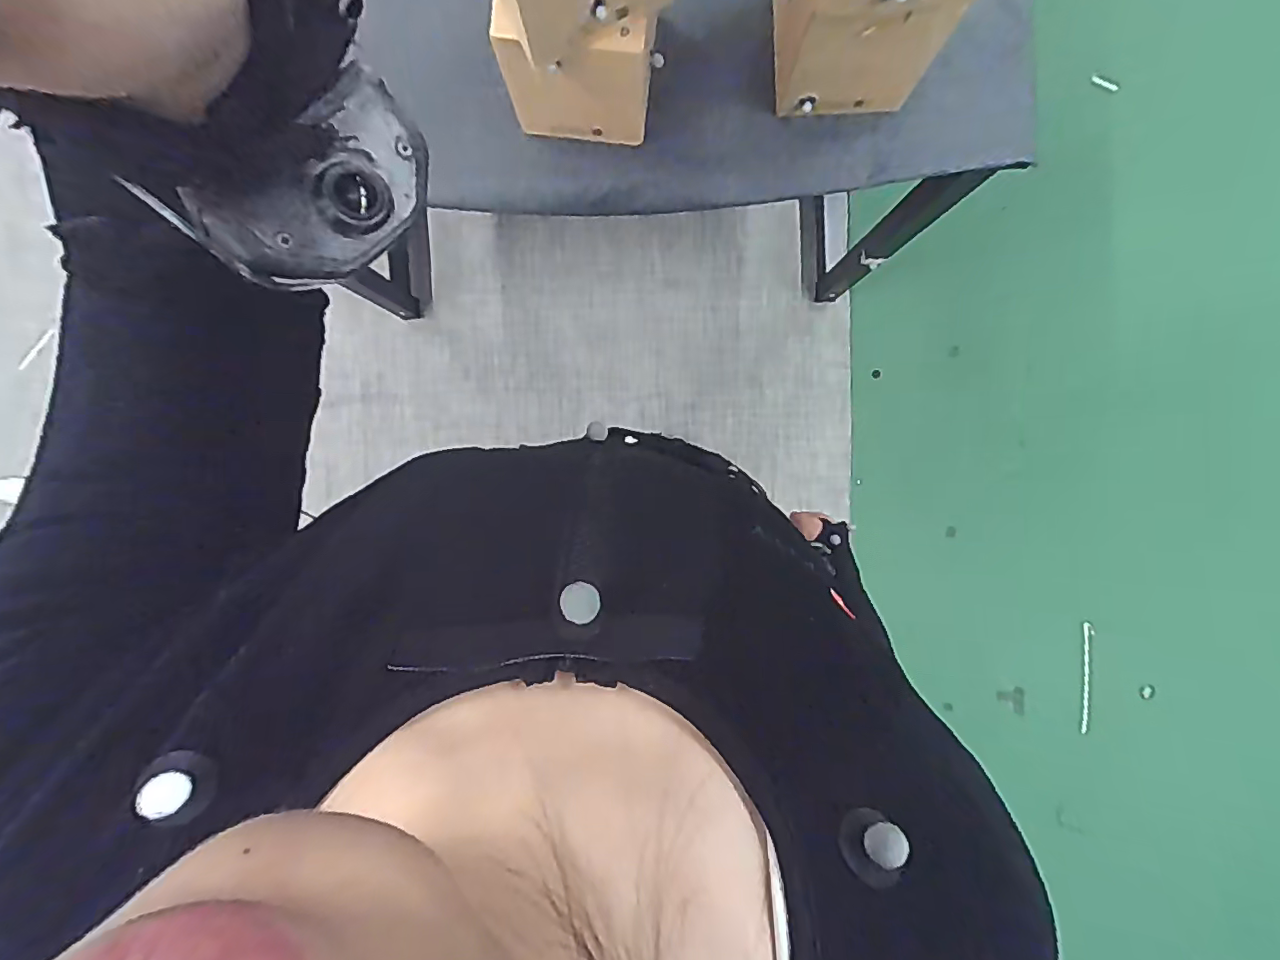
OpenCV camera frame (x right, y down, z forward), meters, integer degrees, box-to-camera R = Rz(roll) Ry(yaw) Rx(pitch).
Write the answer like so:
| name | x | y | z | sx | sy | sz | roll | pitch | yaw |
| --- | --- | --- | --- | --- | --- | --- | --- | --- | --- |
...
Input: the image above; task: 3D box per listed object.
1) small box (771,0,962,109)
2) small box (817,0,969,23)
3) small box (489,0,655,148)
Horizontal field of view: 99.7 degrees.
| name | x | y | z | sx | sy | sz | roll | pitch | yaw |
| --- | --- | --- | --- | --- | --- | --- | --- | --- | --- |
| small box | 0.257 | -0.575 | 0.644 | 0.168 | 0.176 | 0.179 | -2 | 90 | 1 |
| small box | 0.255 | -0.568 | 0.482 | 0.168 | 0.176 | 0.179 | -6 | 92 | 2 |
| small box | -0.070 | -0.541 | 0.647 | 0.168 | 0.176 | 0.179 | 6 | 91 | 0 |
